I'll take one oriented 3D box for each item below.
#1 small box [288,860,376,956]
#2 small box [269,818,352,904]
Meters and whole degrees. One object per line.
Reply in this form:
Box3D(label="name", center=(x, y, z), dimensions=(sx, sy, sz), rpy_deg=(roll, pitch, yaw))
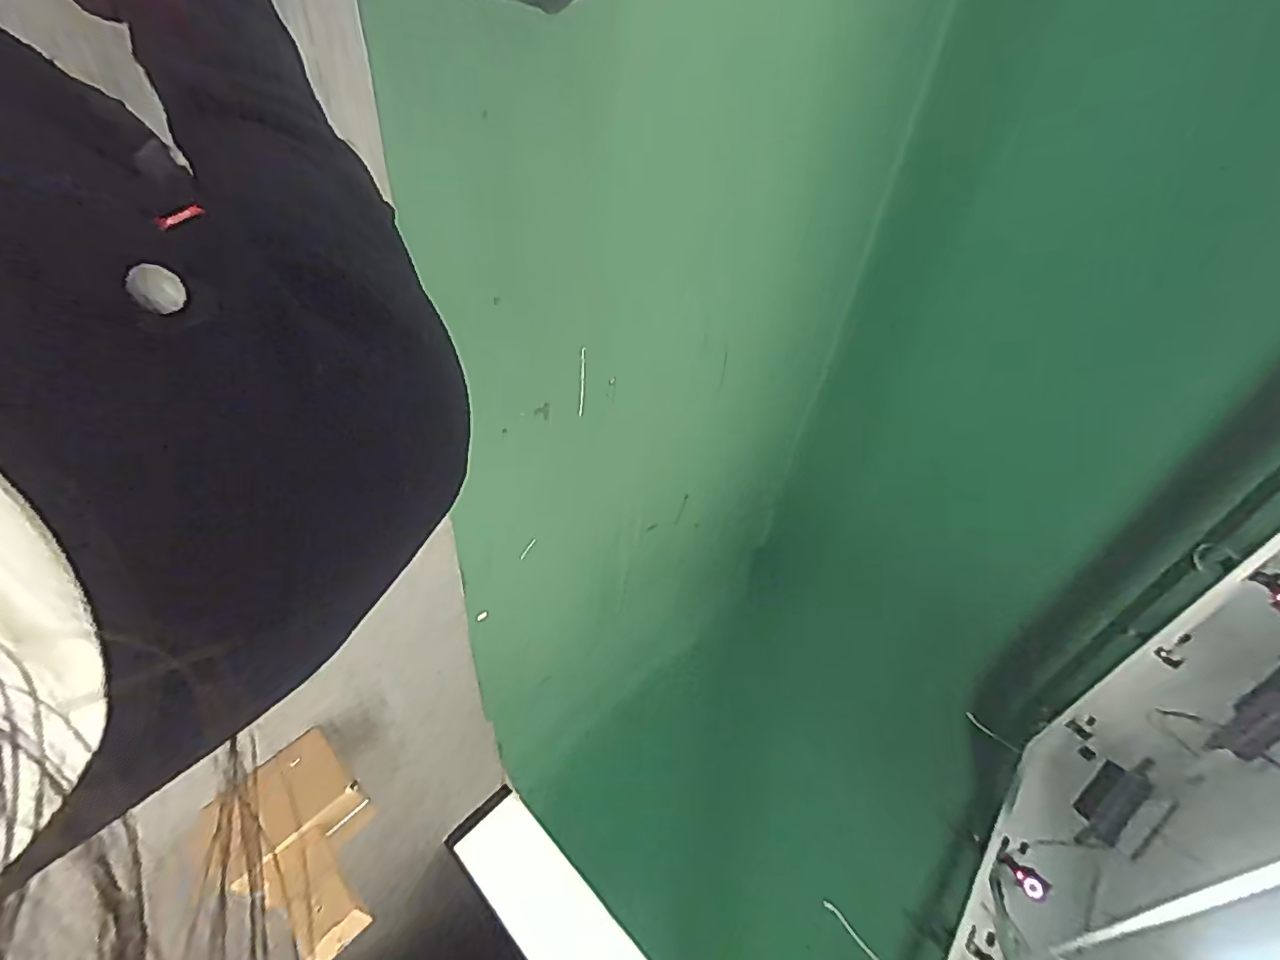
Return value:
Box3D(label="small box", center=(-0.998, 1.377, 1.749), dimensions=(0.168, 0.176, 0.179), rpy_deg=(-35, 144, -33))
Box3D(label="small box", center=(-1.118, 1.300, 1.828), dimensions=(0.179, 0.176, 0.168), rpy_deg=(-34, 144, -36))
